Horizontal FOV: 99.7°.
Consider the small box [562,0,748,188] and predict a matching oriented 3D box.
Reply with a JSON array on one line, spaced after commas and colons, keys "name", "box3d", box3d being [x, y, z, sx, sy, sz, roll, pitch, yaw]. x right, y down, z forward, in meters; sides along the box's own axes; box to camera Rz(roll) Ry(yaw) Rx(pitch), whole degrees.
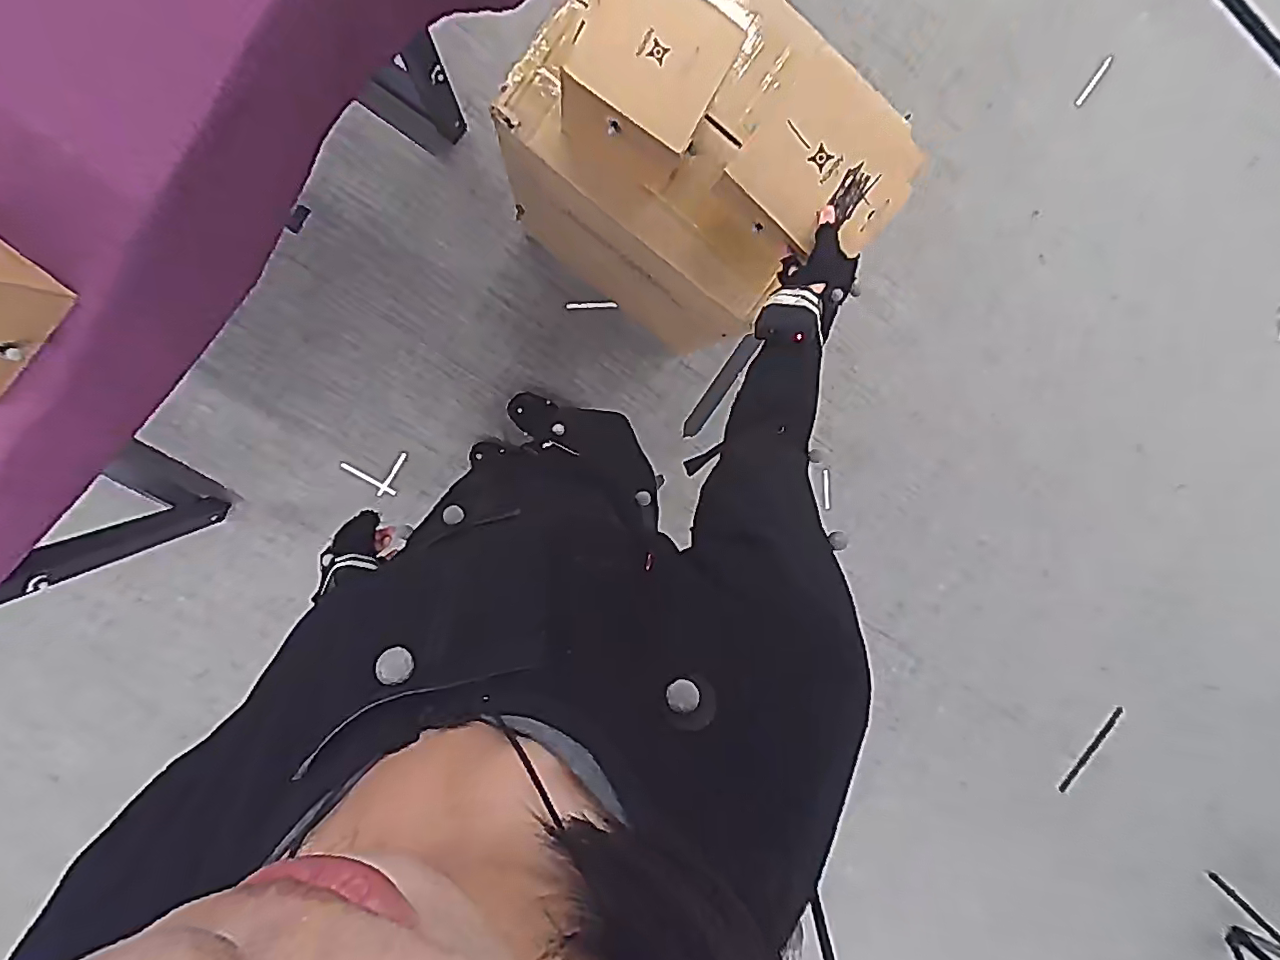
[{"name": "small box", "box3d": [0.010, -0.533, 0.729, 0.179, 0.176, 0.168, 29, 97, -12]}]

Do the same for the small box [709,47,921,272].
[{"name": "small box", "box3d": [0.212, -0.395, 0.707, 0.179, 0.176, 0.168, 38, 103, -11]}]

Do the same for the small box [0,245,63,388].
[{"name": "small box", "box3d": [-0.789, -0.200, 0.567, 0.168, 0.176, 0.179, 40, 91, -11]}]
